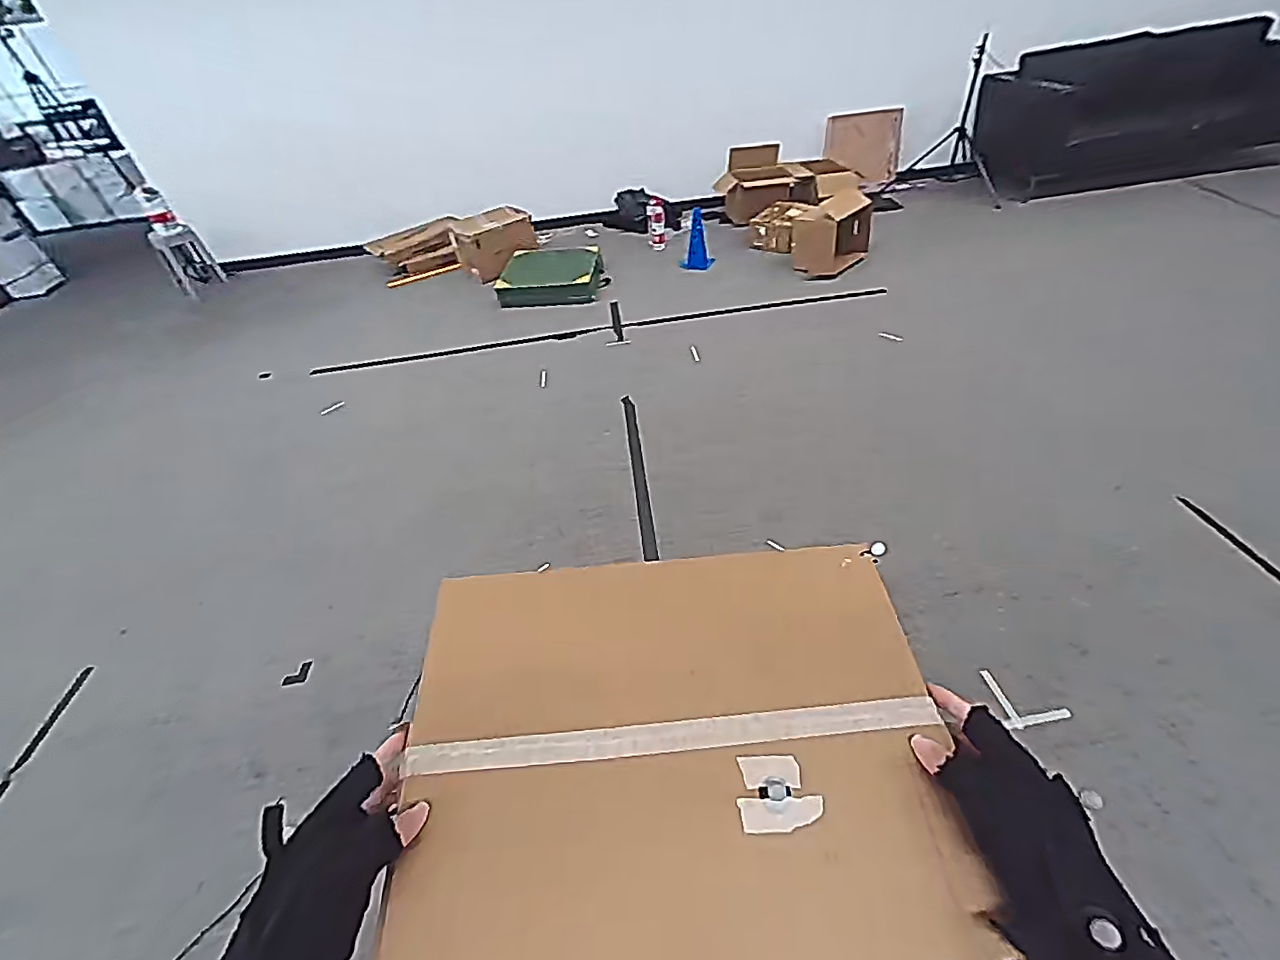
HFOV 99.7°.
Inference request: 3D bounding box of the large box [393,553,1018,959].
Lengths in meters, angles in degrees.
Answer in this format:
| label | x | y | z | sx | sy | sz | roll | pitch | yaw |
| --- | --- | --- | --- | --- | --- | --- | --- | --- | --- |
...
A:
| label | x | y | z | sx | sy | sz | roll | pitch | yaw |
| --- | --- | --- | --- | --- | --- | --- | --- | --- | --- |
| large box | 0.033 | 0.302 | 0.538 | 0.408 | 0.320 | 0.320 | -5 | 50 | -1 |
